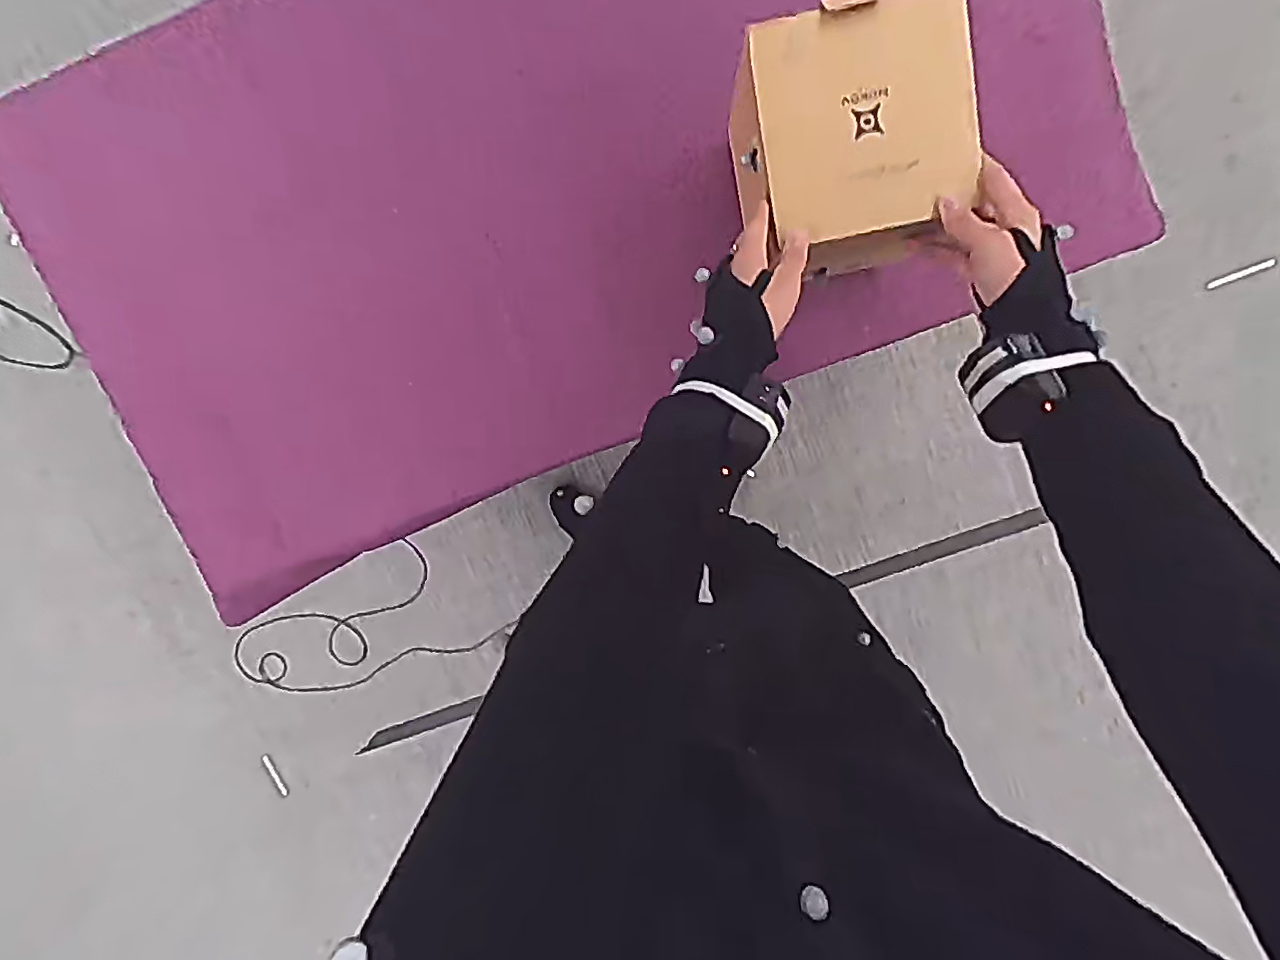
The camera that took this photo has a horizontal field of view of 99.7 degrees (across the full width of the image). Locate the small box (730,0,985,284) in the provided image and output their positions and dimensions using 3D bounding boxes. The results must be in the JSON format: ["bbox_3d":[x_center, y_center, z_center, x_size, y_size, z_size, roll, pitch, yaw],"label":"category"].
[{"bbox_3d":[0.180,-0.299,0.497,0.168,0.176,0.179,-9,98,6],"label":"small box"}]
